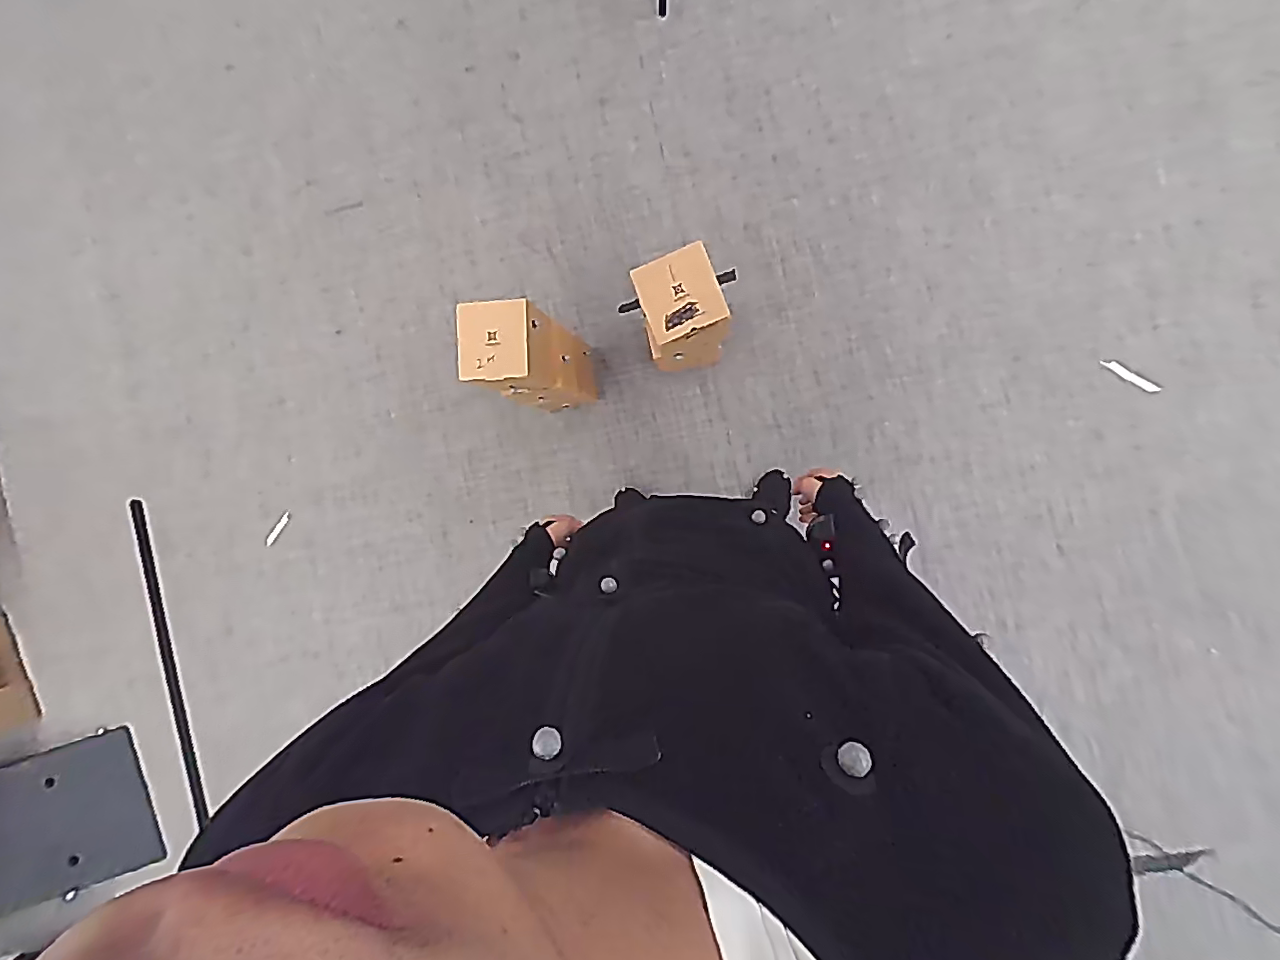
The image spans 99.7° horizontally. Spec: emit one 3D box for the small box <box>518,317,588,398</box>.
[{"bbox_3d":[-0.254,-0.337,1.520,0.168,0.176,0.179,-10,91,10],"label":"small box"}]

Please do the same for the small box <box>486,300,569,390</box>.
[{"bbox_3d":[-0.288,-0.334,1.363,0.168,0.176,0.179,-7,92,9],"label":"small box"}]

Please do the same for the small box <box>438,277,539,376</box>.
[{"bbox_3d":[-0.330,-0.334,1.203,0.168,0.176,0.179,-1,92,9],"label":"small box"}]

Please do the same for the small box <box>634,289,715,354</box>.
[{"bbox_3d":[0.082,-0.424,1.307,0.168,0.176,0.179,-14,90,8],"label":"small box"}]

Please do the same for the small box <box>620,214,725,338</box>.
[{"bbox_3d":[0.074,-0.415,1.141,0.168,0.176,0.179,-22,90,7],"label":"small box"}]
